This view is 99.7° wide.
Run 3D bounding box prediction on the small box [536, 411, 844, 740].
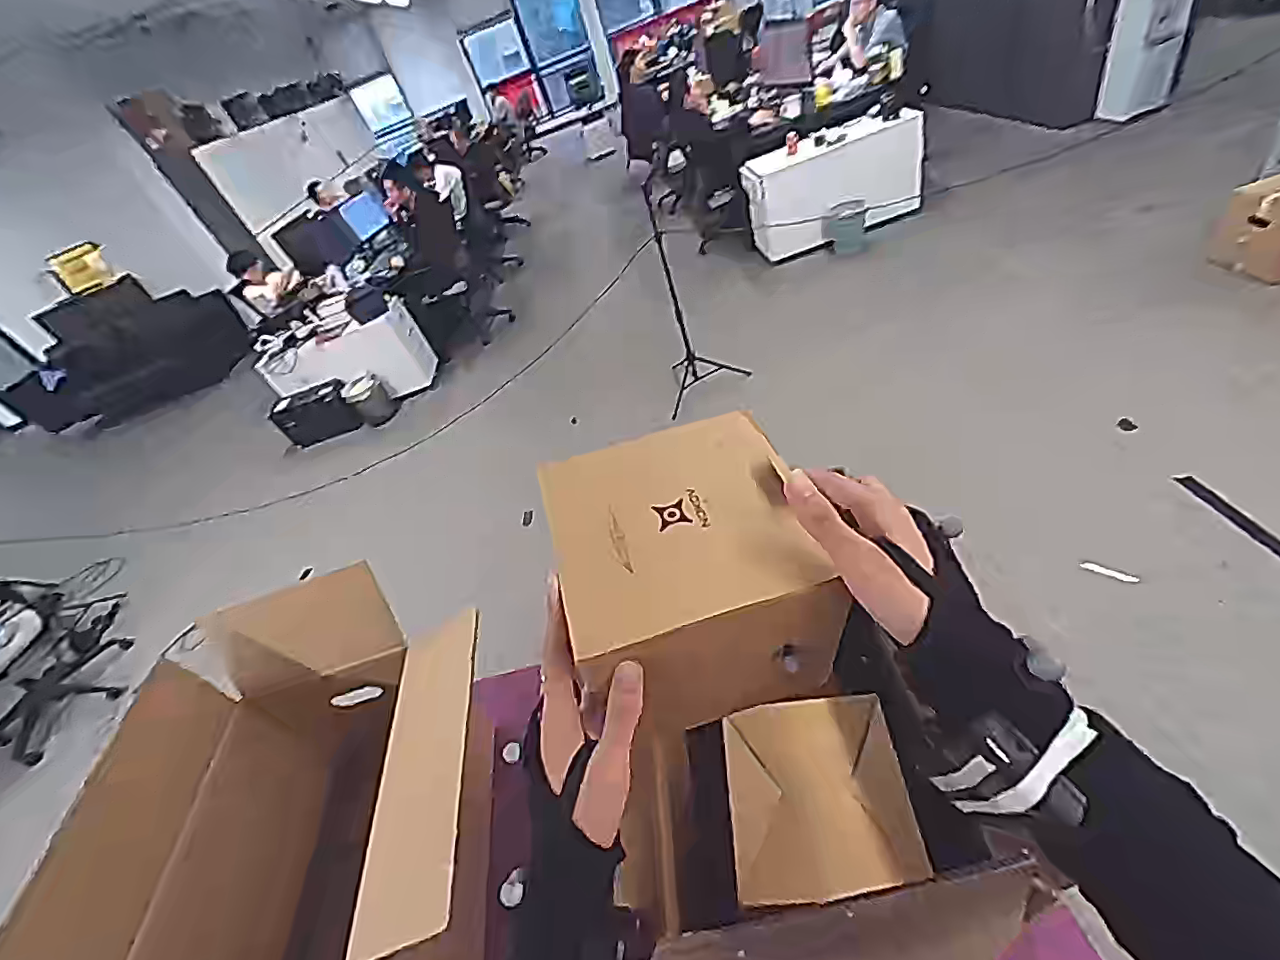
[{"bbox_3d":[0.033,0.077,0.431,0.179,0.176,0.168,-17,46,-4],"label":"small box"}]
